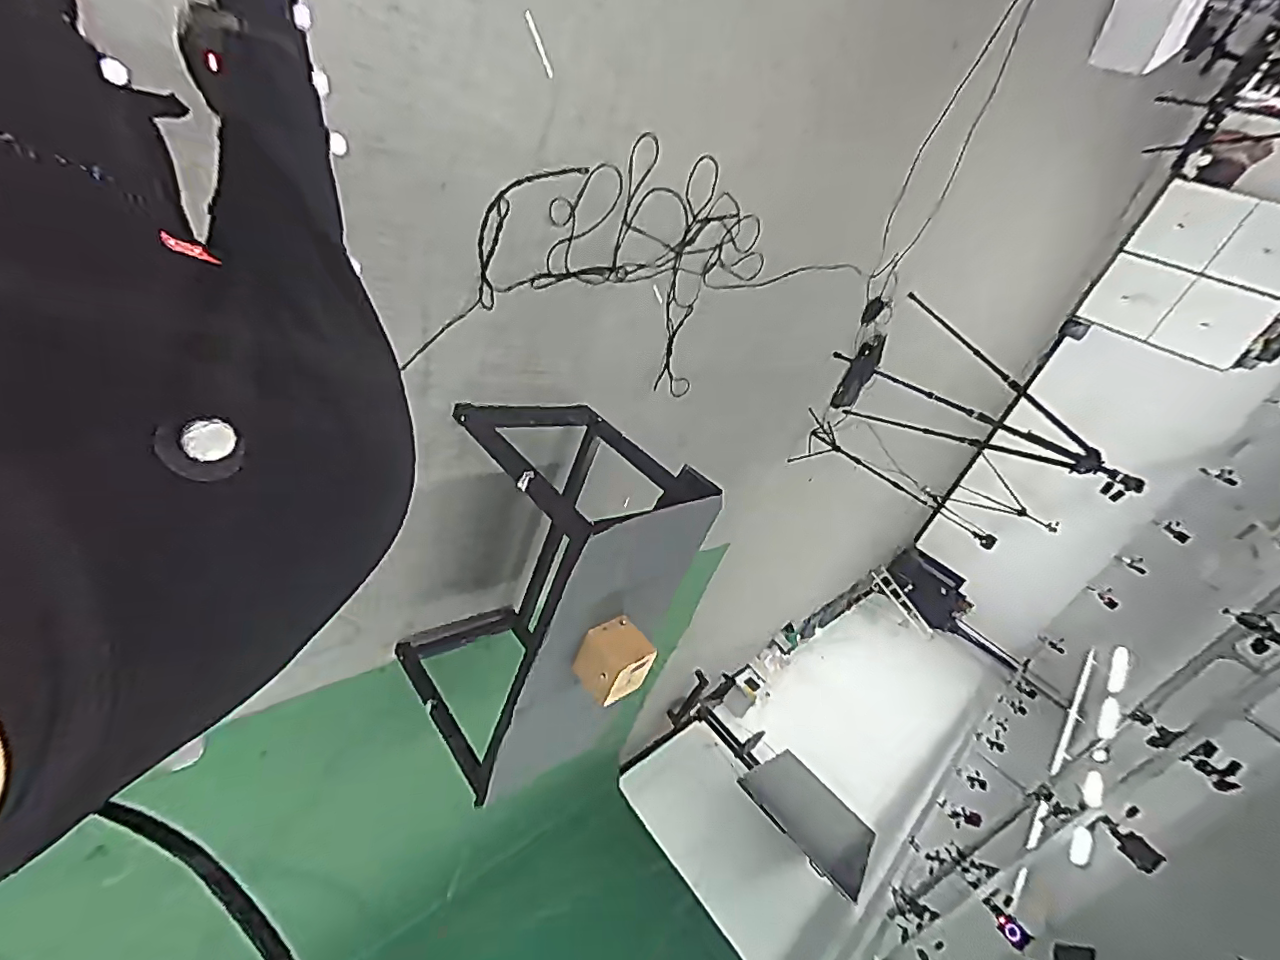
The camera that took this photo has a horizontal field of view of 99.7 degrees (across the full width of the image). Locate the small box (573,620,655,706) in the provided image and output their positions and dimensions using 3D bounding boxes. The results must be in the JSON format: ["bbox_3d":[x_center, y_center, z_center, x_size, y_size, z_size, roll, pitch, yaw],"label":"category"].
[{"bbox_3d":[-0.087,0.565,1.705,0.168,0.176,0.179,-10,132,-45],"label":"small box"}]
